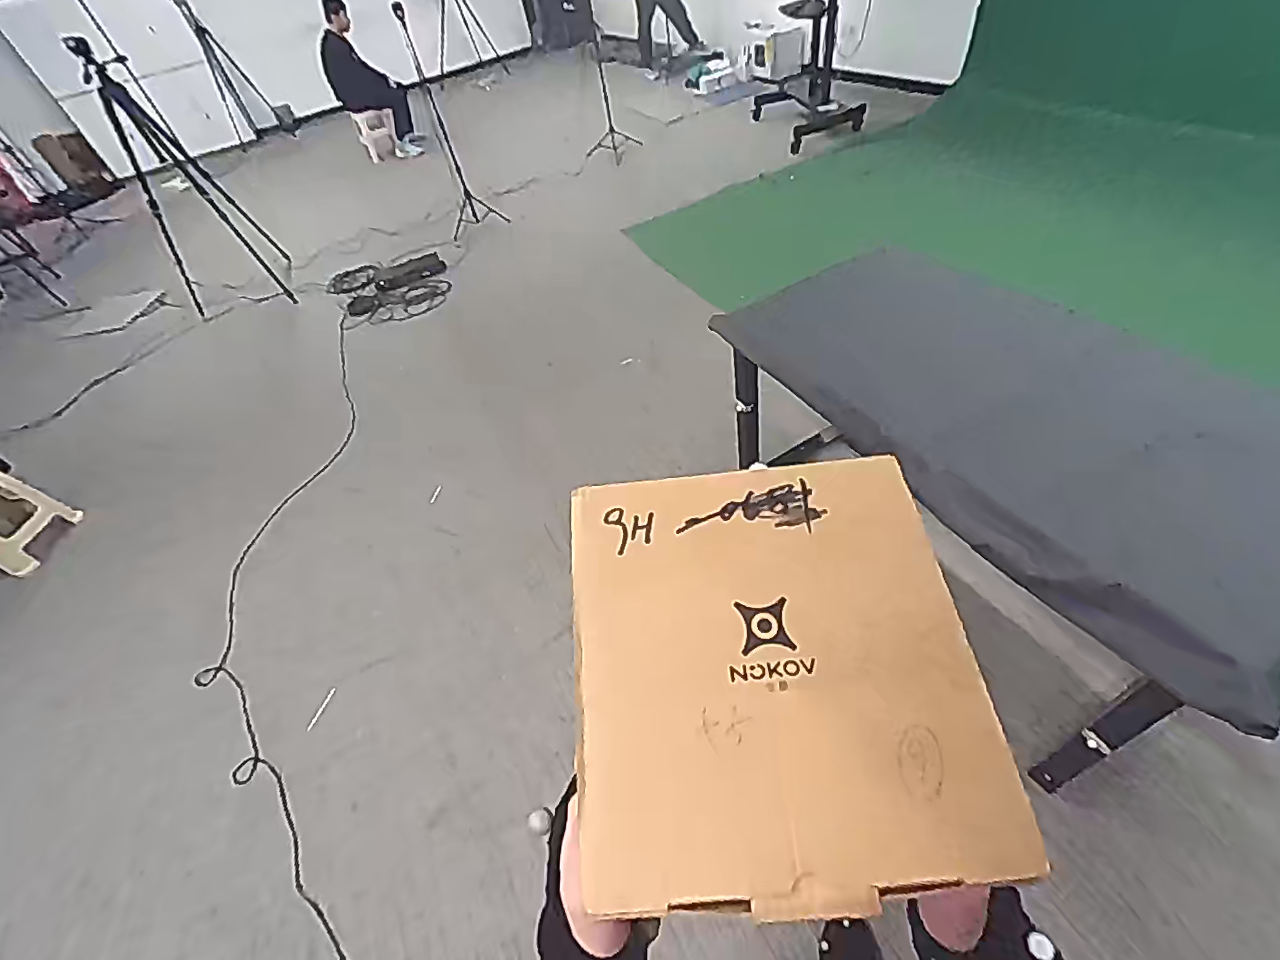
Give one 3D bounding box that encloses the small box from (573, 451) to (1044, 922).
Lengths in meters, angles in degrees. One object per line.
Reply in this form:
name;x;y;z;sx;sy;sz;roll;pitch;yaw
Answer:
small box;0.057;0.105;0.296;0.168;0.176;0.179;-5;62;-1
